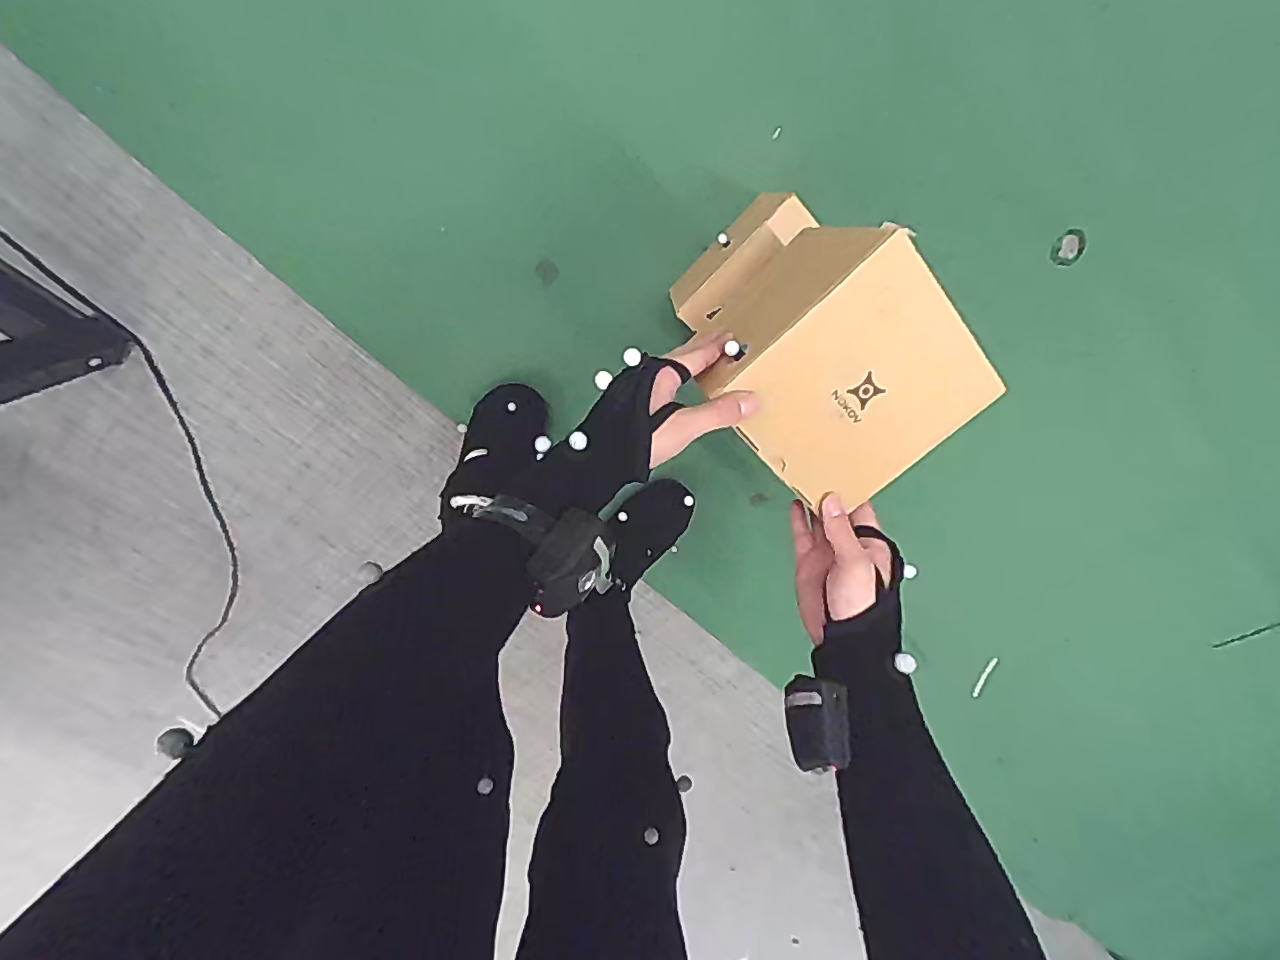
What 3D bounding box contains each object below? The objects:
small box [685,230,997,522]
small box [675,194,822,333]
[{"bbox_3d":[0.162,-0.103,0.491,0.179,0.176,0.168,-42,113,15],"label":"small box"},{"bbox_3d":[0.159,-0.236,0.698,0.168,0.176,0.179,41,110,-20],"label":"small box"}]
